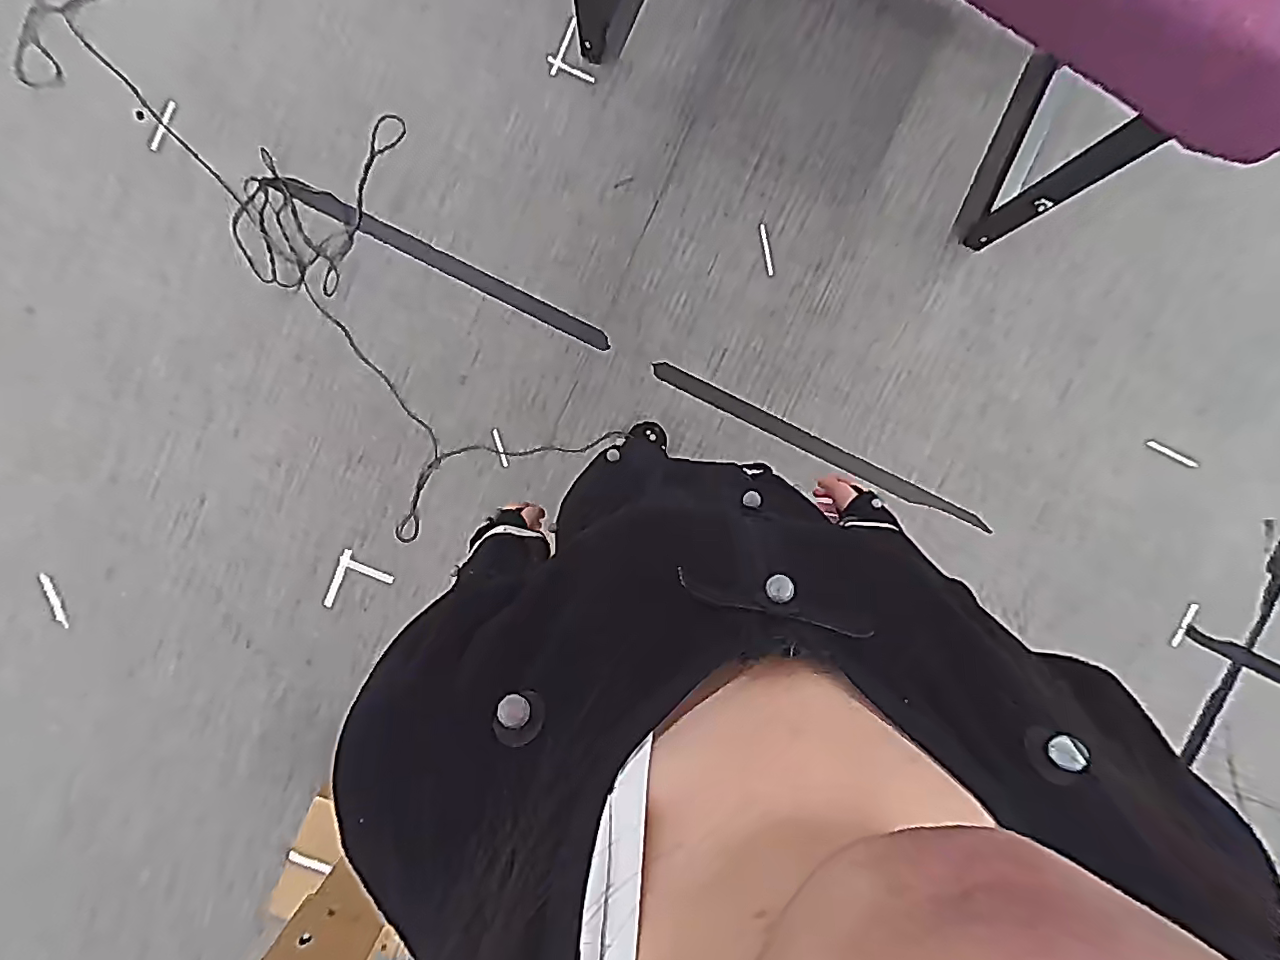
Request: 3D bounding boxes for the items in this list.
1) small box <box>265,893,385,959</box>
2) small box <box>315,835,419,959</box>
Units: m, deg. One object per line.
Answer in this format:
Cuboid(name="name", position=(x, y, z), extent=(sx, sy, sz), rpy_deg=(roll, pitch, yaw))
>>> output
Cuboid(name="small box", position=(-0.607, 0.928, 1.007), extent=(0.168, 0.176, 0.179), rpy_deg=(21, 94, -1))
Cuboid(name="small box", position=(-0.606, 0.925, 1.169), extent=(0.168, 0.176, 0.179), rpy_deg=(22, 92, -2))
